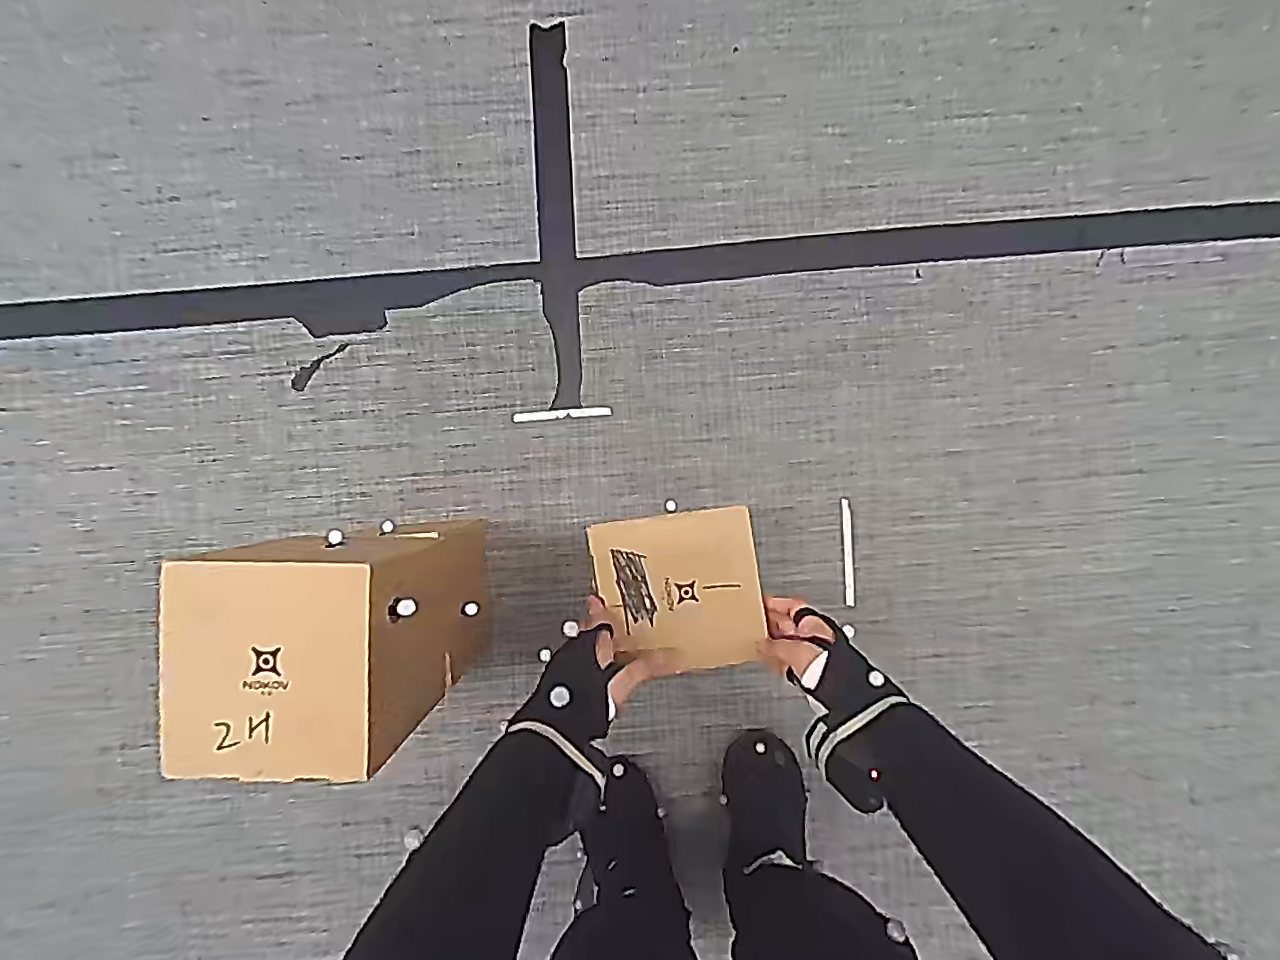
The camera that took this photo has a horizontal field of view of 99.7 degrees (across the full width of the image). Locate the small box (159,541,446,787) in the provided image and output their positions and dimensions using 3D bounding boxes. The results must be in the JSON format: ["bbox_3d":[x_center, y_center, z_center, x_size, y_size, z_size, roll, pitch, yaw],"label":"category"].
[{"bbox_3d":[-0.292,0.152,0.503,0.168,0.176,0.179,1,91,0],"label":"small box"}]

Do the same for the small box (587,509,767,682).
[{"bbox_3d":[0.041,0.127,0.652,0.179,0.176,0.168,-8,87,1],"label":"small box"}]

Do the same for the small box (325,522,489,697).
[{"bbox_3d":[-0.294,0.153,0.669,0.168,0.176,0.179,-4,92,0],"label":"small box"}]
